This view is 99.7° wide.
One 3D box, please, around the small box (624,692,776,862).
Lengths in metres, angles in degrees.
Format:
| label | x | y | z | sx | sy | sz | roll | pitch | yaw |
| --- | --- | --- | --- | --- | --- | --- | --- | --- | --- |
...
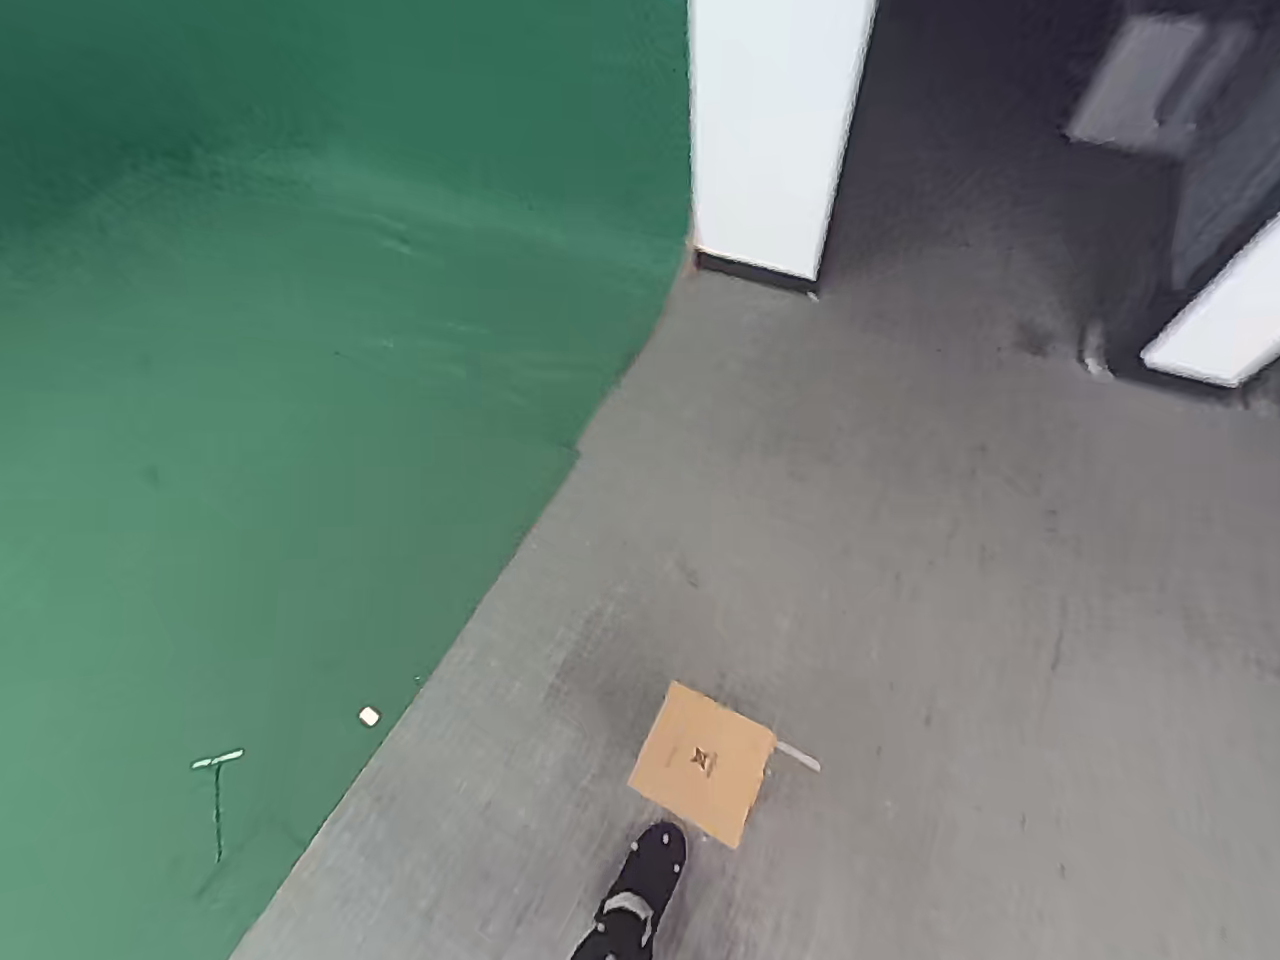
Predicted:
| label | x | y | z | sx | sy | sz | roll | pitch | yaw |
| --- | --- | --- | --- | --- | --- | --- | --- | --- | --- |
| small box | 0.099 | 0.468 | 0.864 | 0.179 | 0.176 | 0.168 | 22 | 63 | 20 |
